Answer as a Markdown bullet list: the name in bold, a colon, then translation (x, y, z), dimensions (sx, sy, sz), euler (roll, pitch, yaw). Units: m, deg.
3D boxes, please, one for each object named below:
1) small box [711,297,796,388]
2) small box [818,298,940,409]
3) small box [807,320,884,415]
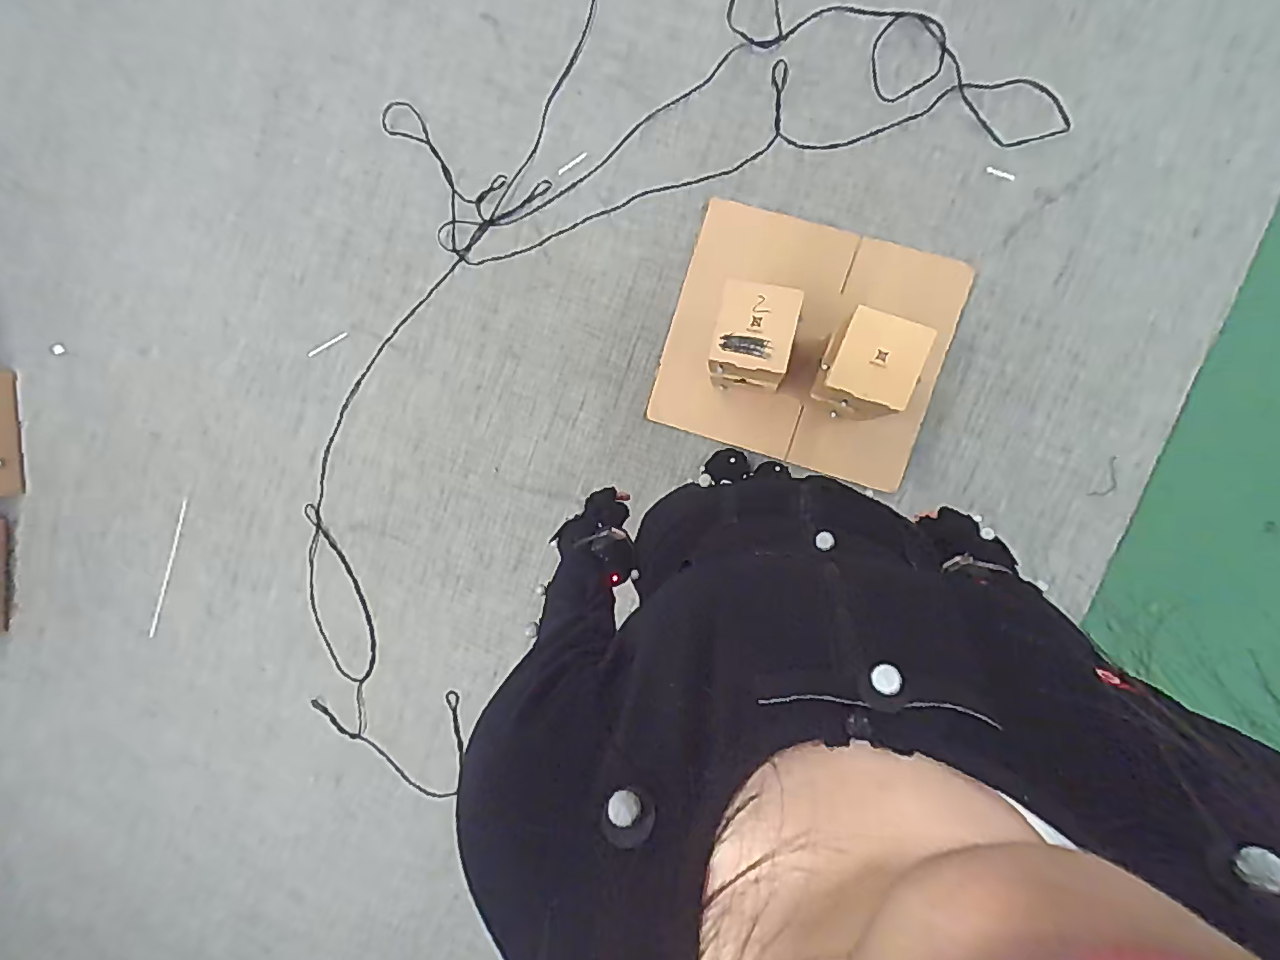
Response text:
- **small box**: translation (0.278, -0.334, 1.346), dimensions (0.168, 0.176, 0.179), euler (14, 96, 7)
- **small box**: translation (0.498, -0.262, 1.157), dimensions (0.168, 0.176, 0.179), euler (21, 98, 7)
- **small box**: translation (0.519, -0.267, 1.319), dimensions (0.168, 0.176, 0.179), euler (18, 97, 8)
